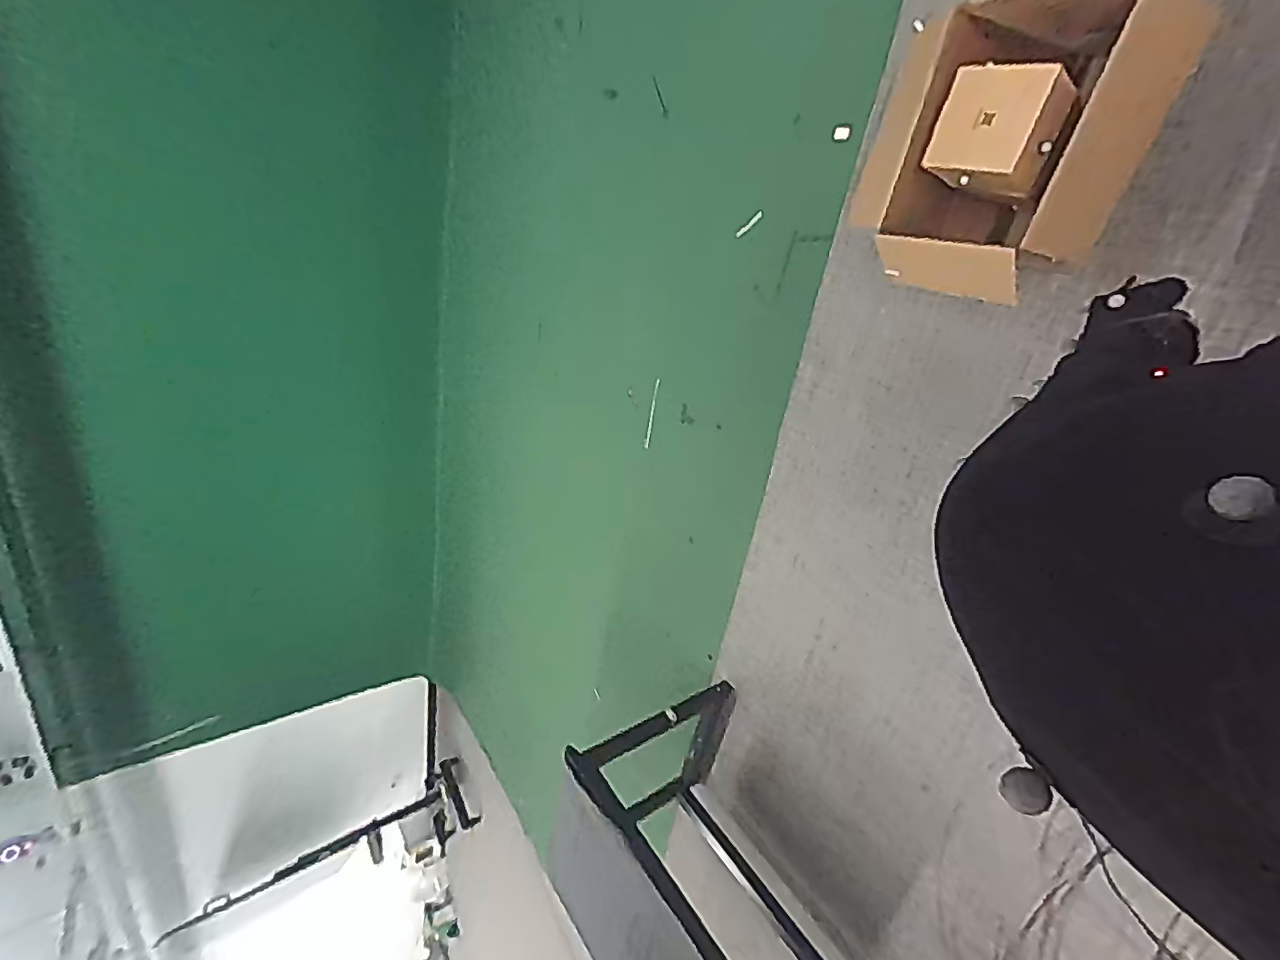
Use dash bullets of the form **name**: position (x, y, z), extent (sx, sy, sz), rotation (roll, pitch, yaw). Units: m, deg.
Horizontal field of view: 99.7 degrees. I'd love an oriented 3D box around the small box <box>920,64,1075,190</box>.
- **small box**: position (0.689, -0.672, 1.041), extent (0.179, 0.176, 0.168), rotation (37, 122, 40)
